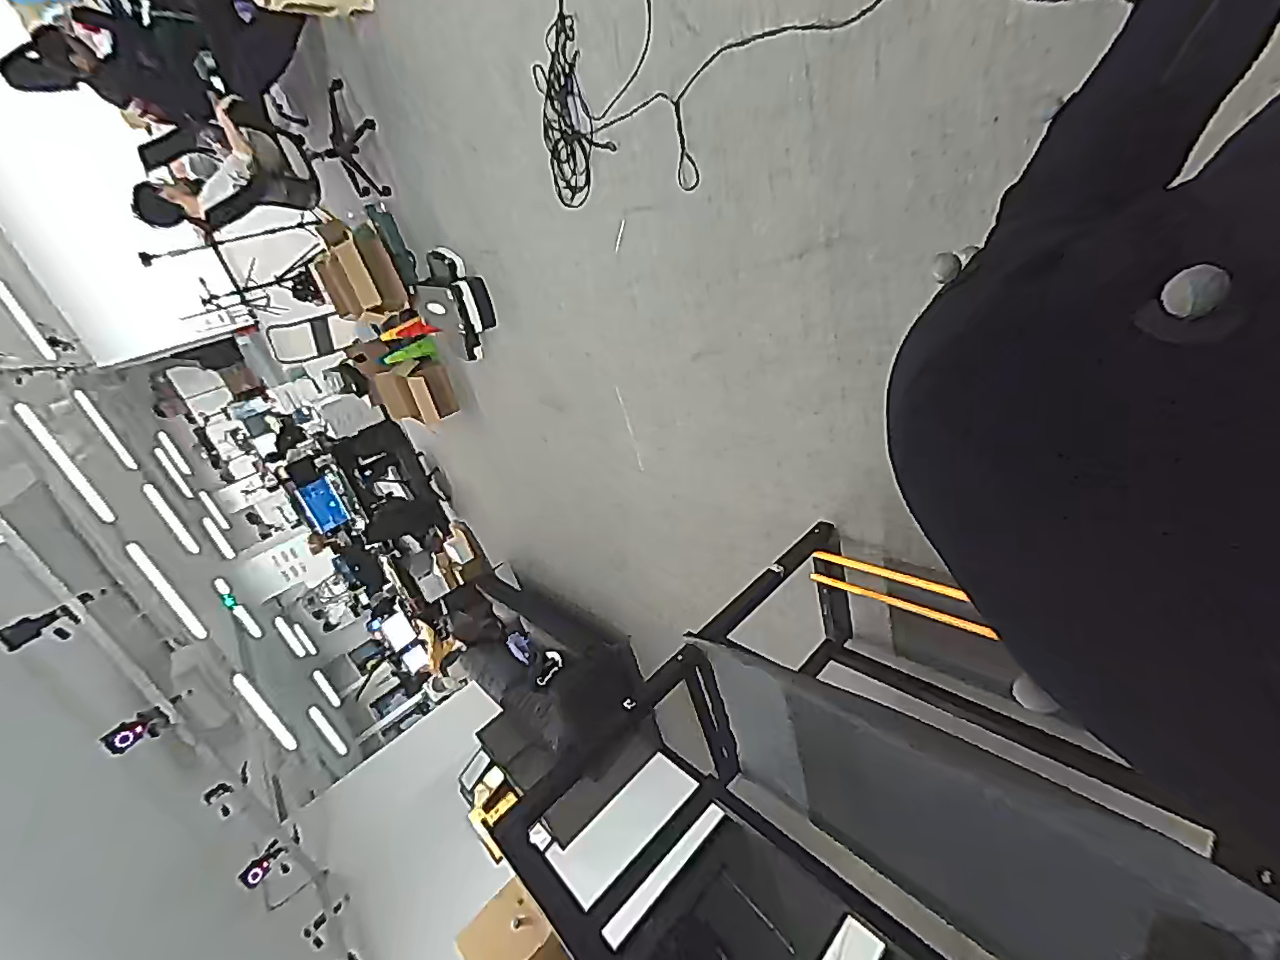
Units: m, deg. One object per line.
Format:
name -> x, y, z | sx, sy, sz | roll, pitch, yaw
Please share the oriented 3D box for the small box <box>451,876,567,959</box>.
small box -> -0.281, 1.042, 1.195 | 0.168, 0.176, 0.179 | 19, 131, 45
